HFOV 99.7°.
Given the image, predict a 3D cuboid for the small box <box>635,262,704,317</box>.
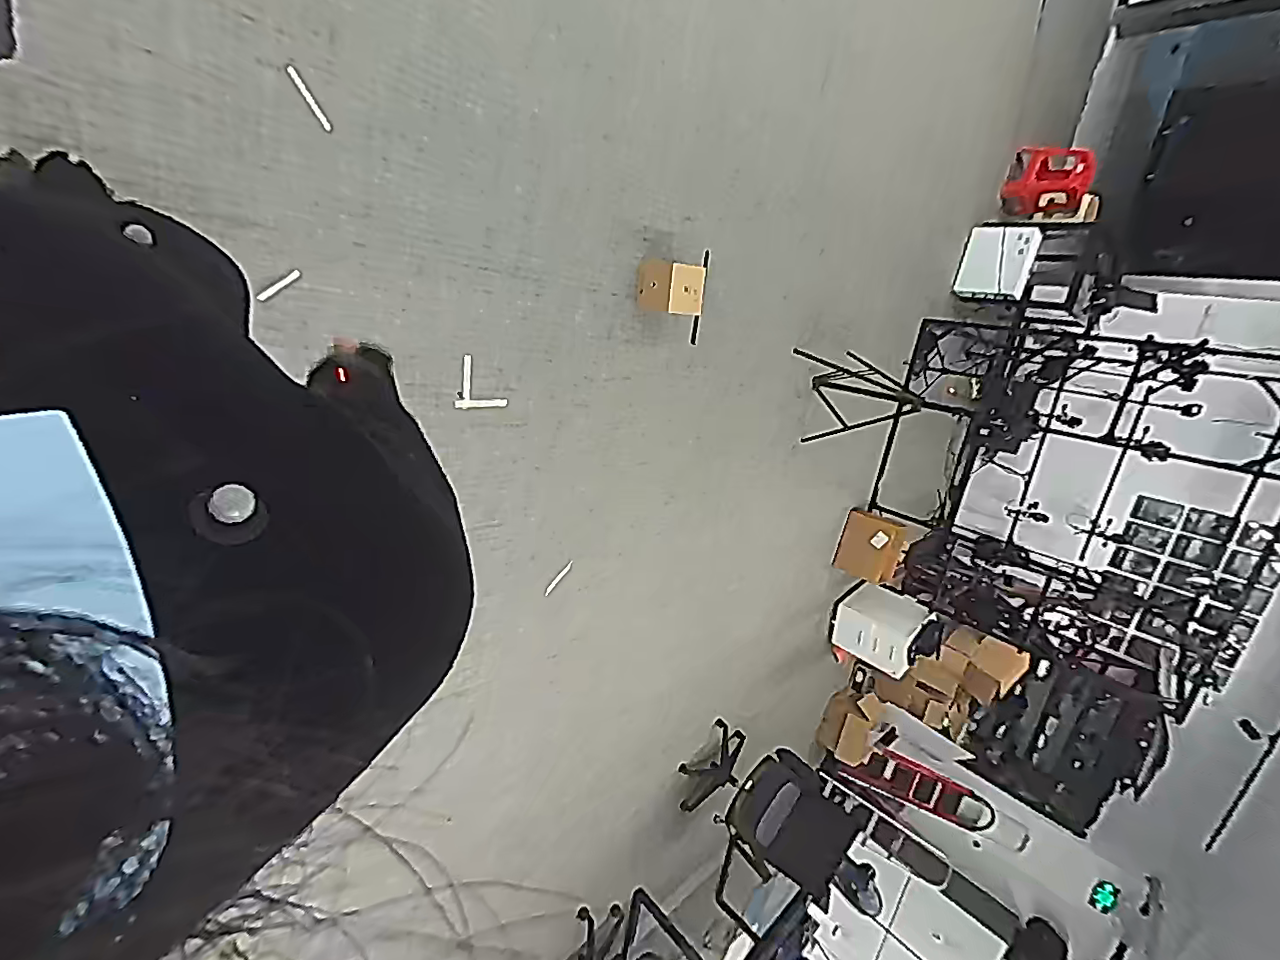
[{"bbox_3d":[0.103,-0.683,1.938,0.179,0.176,0.168,-12,117,-43],"label":"small box"}]
